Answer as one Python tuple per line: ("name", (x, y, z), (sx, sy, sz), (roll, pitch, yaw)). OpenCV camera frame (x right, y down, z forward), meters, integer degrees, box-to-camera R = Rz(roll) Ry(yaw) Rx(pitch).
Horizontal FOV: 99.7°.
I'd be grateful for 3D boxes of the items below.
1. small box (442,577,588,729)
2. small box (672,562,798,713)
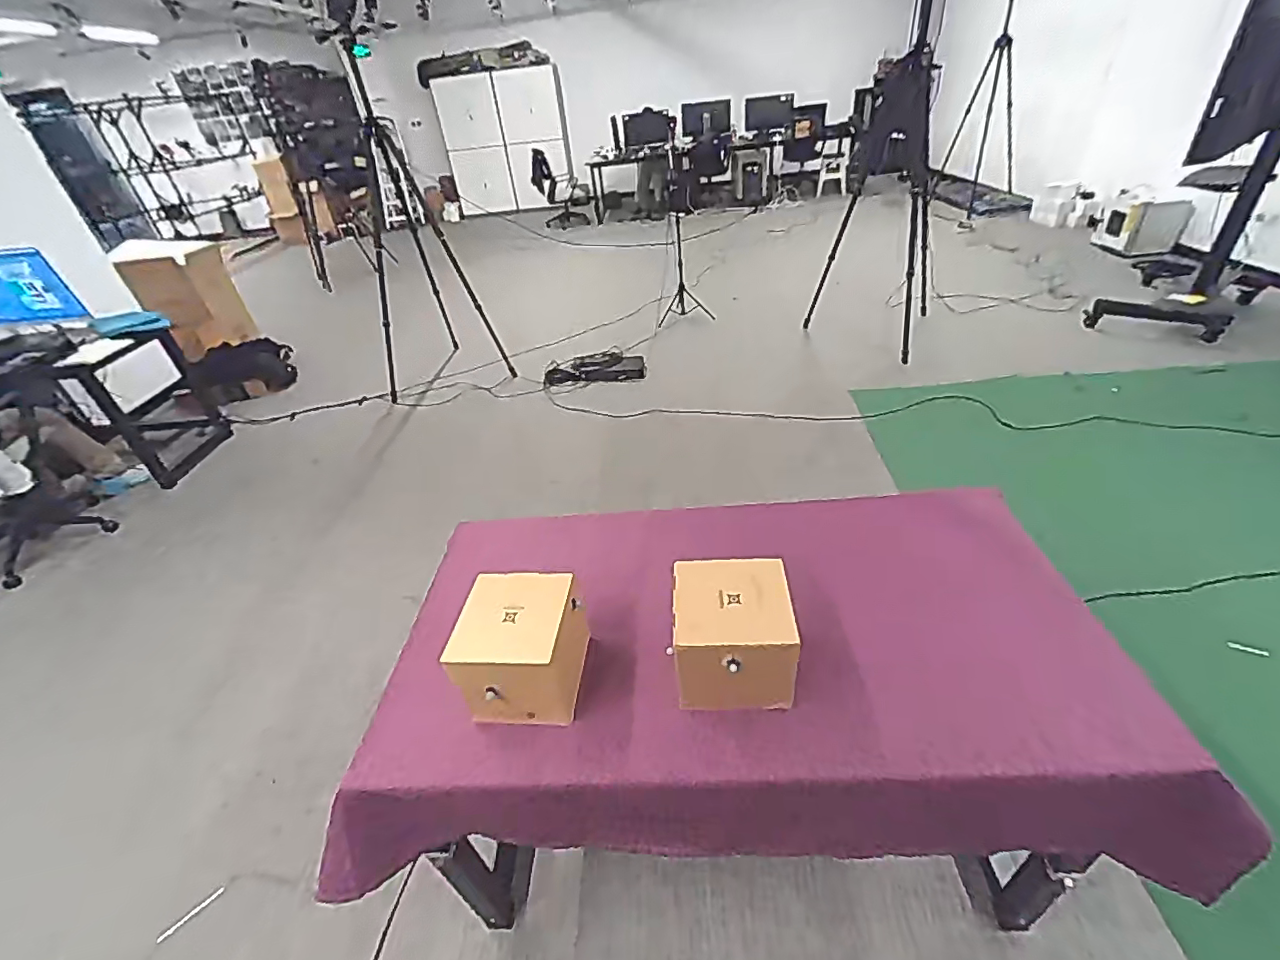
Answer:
("small box", (-0.187, 0.280, 0.876), (0.168, 0.176, 0.179), (-2, 35, 8))
("small box", (0.145, 0.248, 0.853), (0.179, 0.176, 0.168), (-3, 36, 7))
